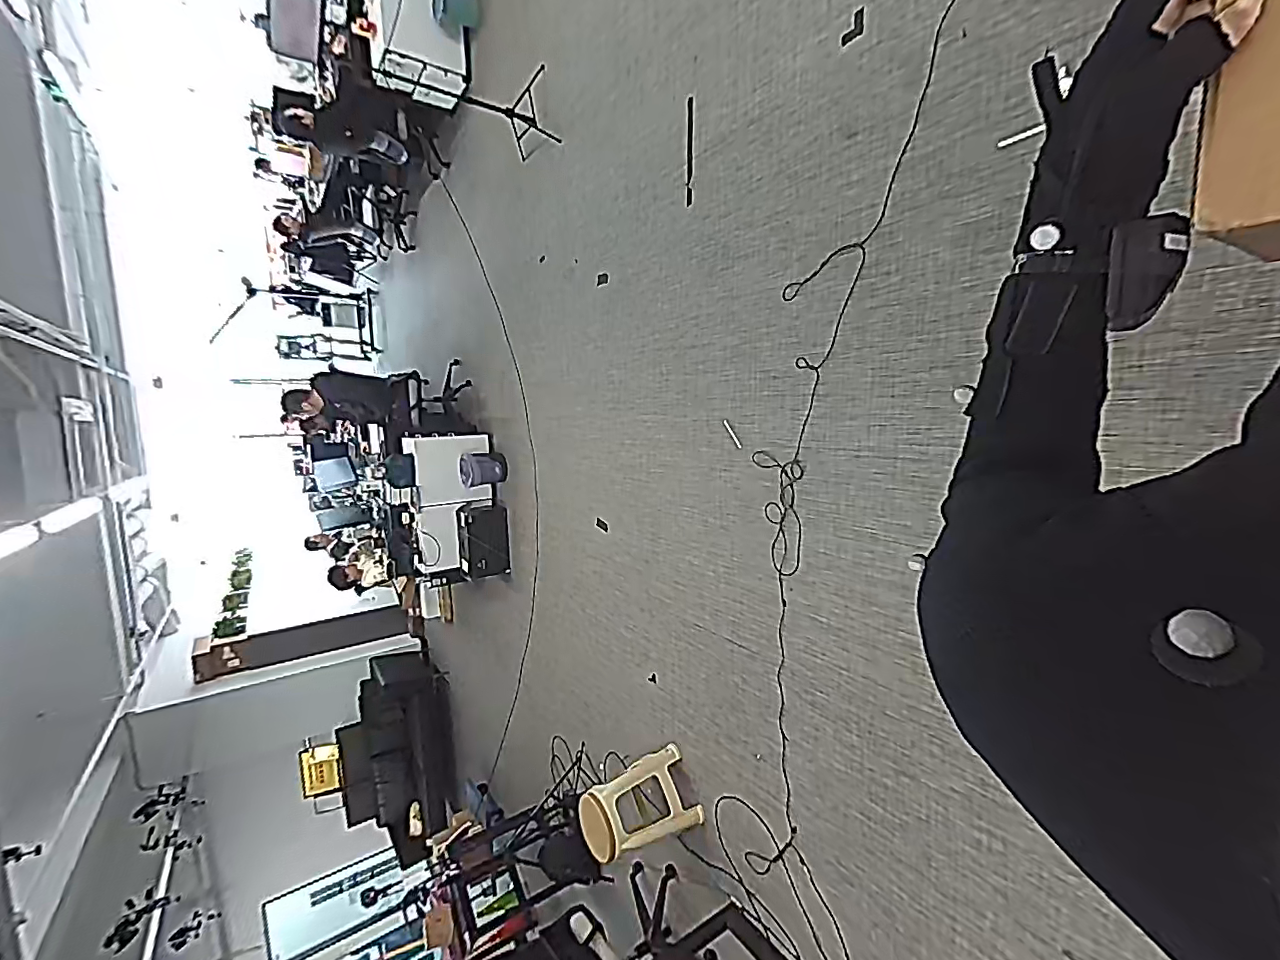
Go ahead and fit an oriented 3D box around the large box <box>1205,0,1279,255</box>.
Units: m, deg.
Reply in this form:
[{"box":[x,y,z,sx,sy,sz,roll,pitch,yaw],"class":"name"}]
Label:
[{"box":[0.554,-0.308,0.224,0.408,0.320,0.320,9,109,52],"class":"large box"}]
